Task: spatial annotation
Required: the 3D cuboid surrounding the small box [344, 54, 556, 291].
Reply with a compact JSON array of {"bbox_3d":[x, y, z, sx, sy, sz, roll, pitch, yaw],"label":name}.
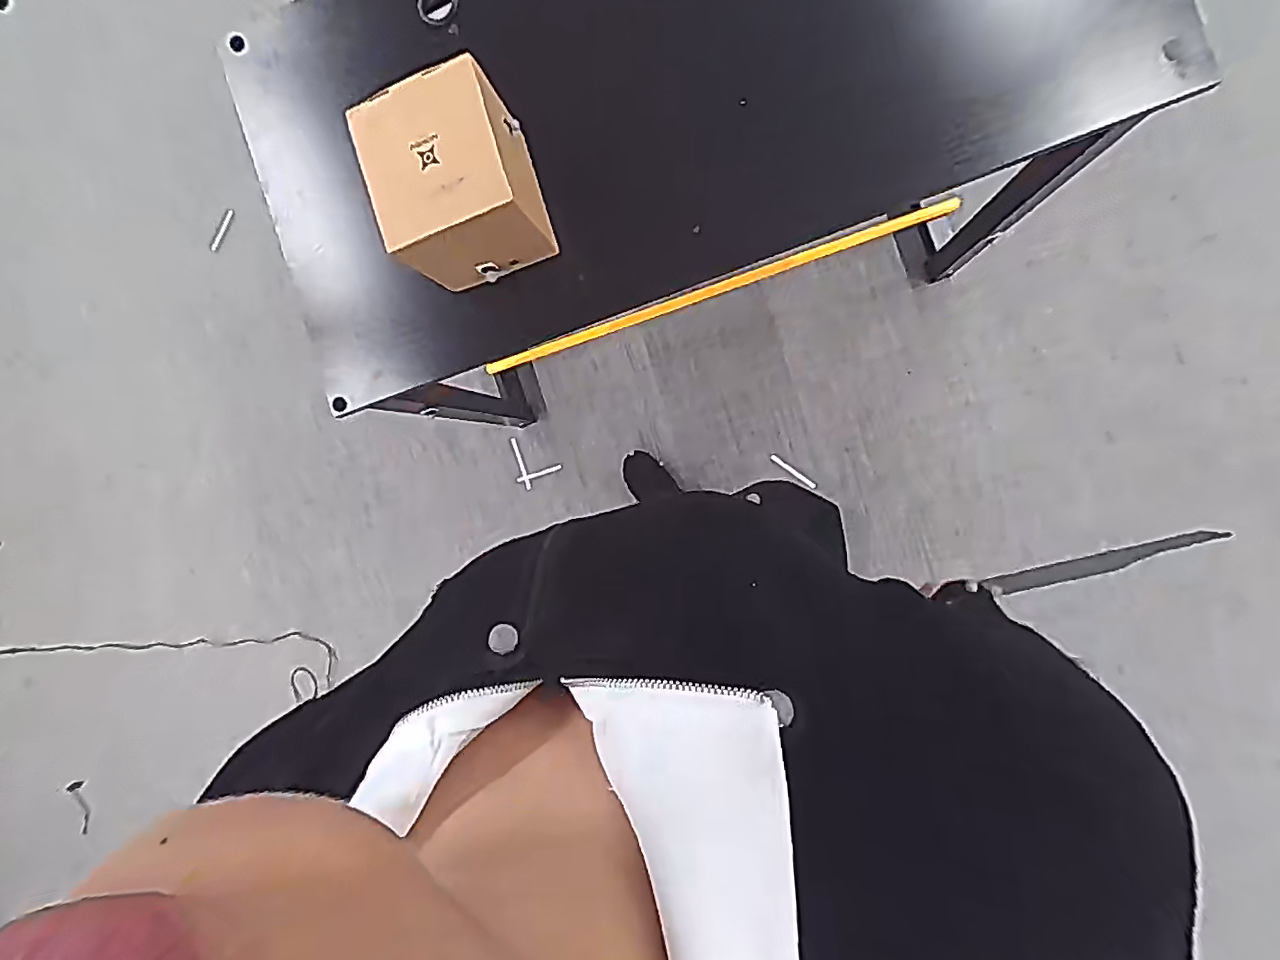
[{"bbox_3d":[-0.227,-0.368,0.685,0.168,0.176,0.179,-17,90,10],"label":"small box"}]
